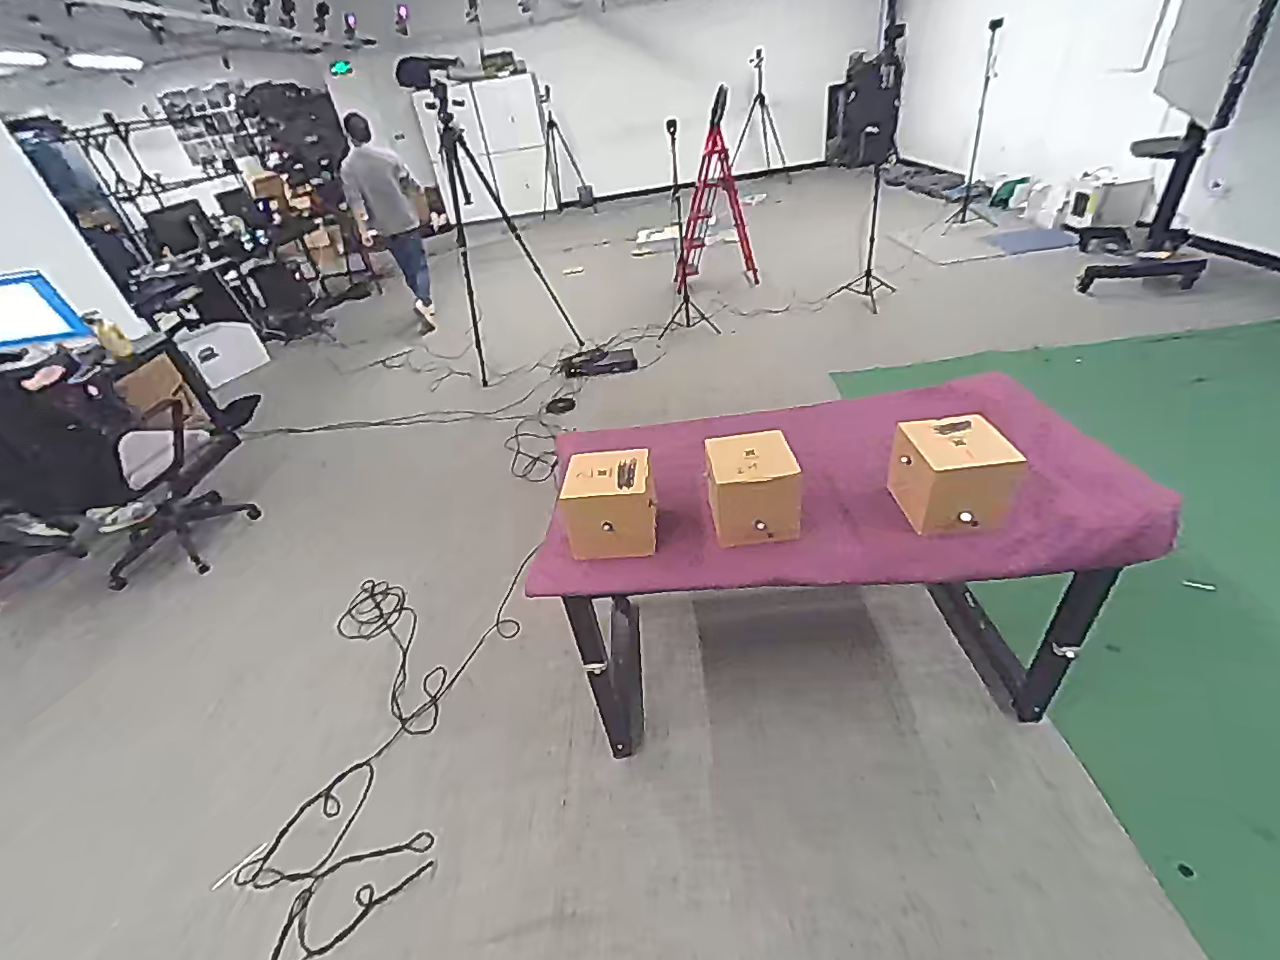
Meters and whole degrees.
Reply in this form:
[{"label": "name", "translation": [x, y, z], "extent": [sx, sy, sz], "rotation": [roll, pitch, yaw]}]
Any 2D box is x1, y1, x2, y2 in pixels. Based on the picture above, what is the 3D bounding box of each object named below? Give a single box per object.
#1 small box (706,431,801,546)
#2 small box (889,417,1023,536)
[{"label": "small box", "translation": [0.235, 0.018, 1.150], "extent": [0.168, 0.176, 0.179], "rotation": [-8, 34, 3]}, {"label": "small box", "translation": [0.627, -0.007, 1.101], "extent": [0.168, 0.176, 0.179], "rotation": [-7, 36, 4]}]
